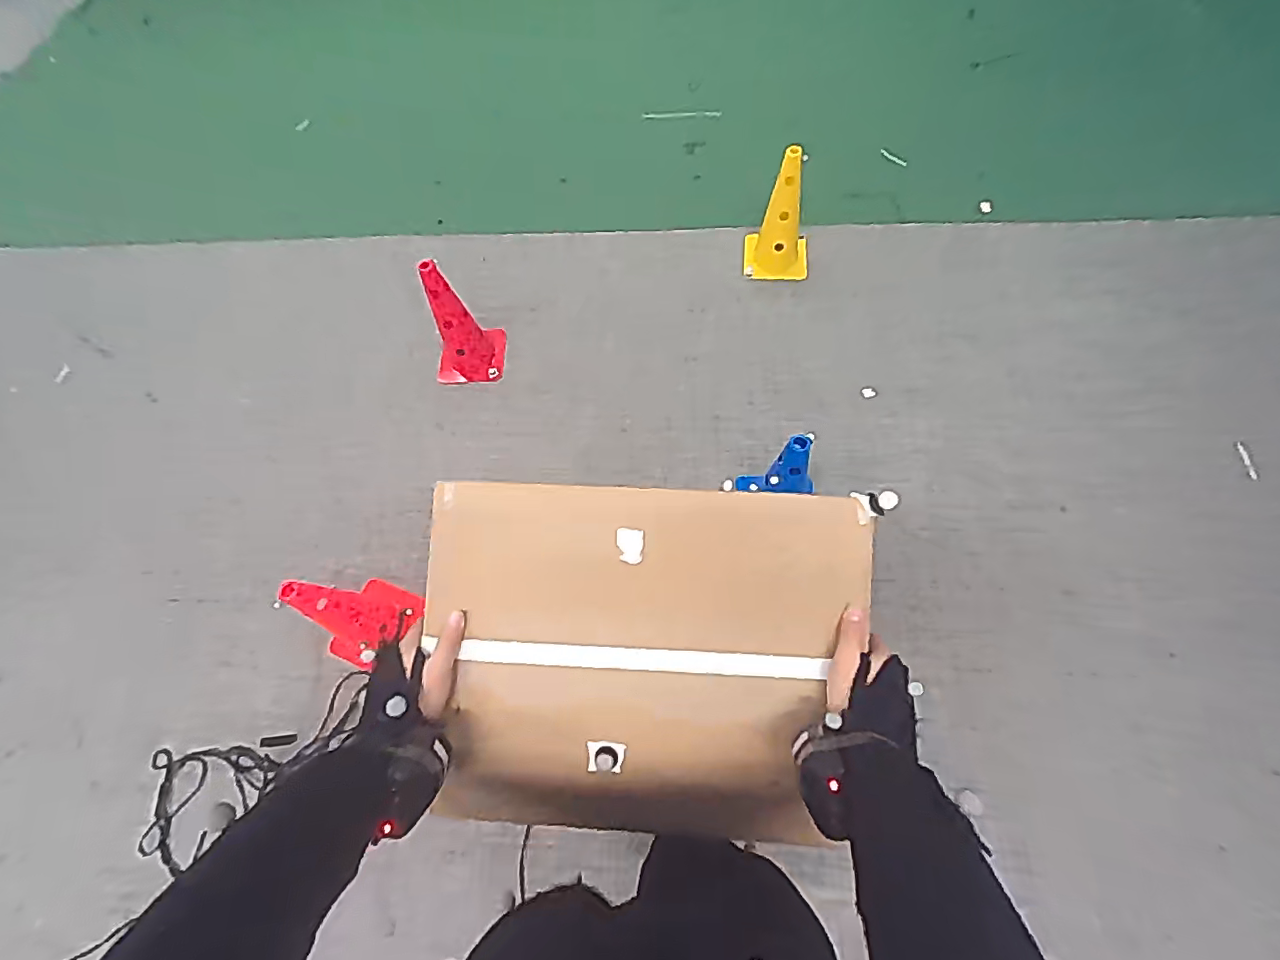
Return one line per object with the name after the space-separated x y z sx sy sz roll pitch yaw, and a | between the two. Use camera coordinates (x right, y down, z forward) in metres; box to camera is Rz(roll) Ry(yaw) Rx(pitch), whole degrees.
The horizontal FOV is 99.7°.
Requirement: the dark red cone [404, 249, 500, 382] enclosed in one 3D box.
-0.547 -0.466 1.512 0.202 0.394 0.201 -6 60 3 | dark red cone

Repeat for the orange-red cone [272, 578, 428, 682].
-0.654 0.285 1.161 0.199 0.360 0.198 19 65 16 | orange-red cone

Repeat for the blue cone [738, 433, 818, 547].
0.334 0.006 1.227 0.192 0.380 0.193 1 63 6 | blue cone
